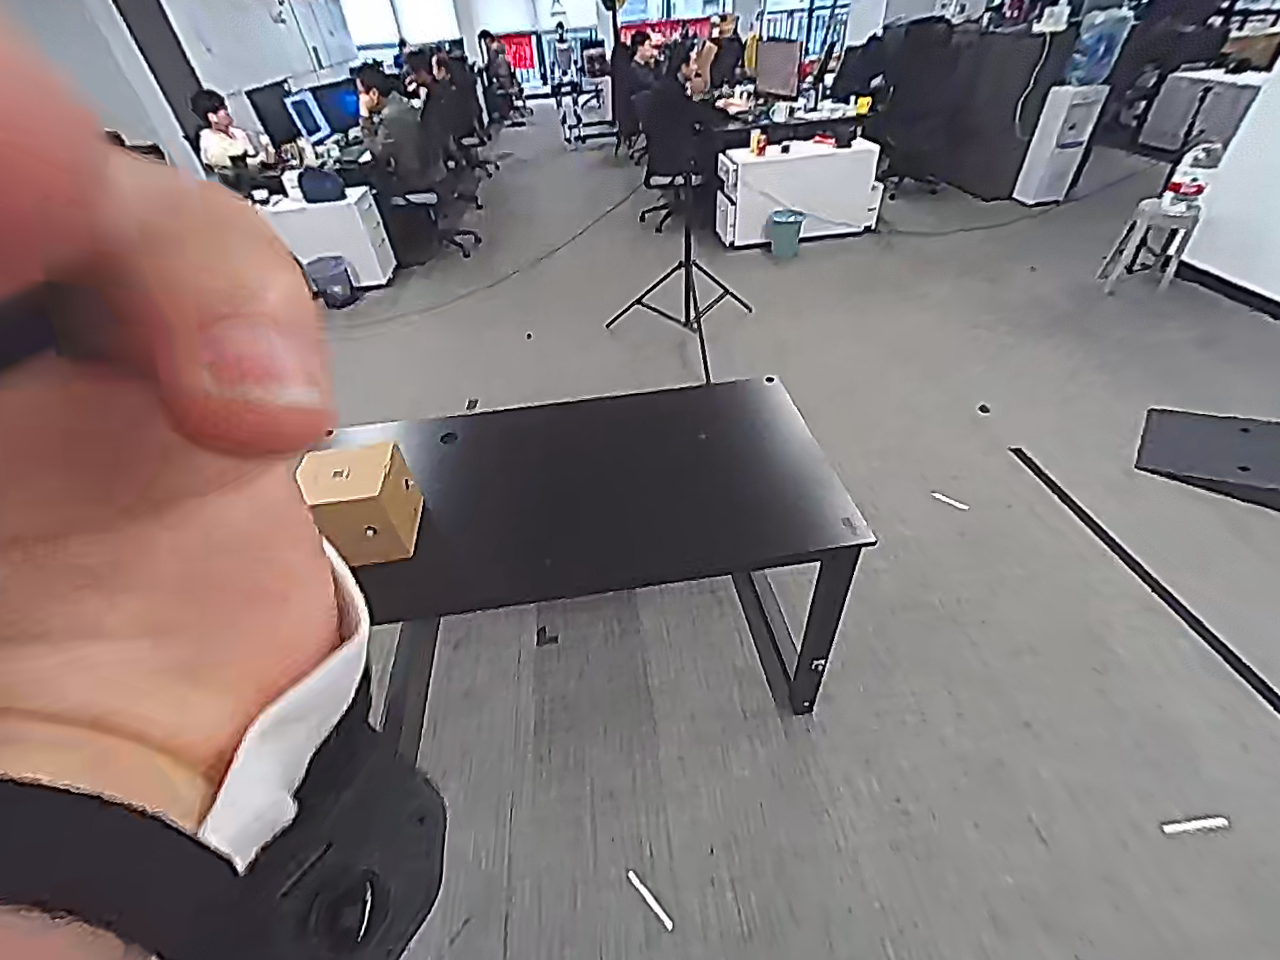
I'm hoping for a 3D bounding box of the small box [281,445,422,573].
[{"bbox_3d":[-0.543,0.057,1.051,0.179,0.176,0.168,-10,41,-4],"label":"small box"}]
